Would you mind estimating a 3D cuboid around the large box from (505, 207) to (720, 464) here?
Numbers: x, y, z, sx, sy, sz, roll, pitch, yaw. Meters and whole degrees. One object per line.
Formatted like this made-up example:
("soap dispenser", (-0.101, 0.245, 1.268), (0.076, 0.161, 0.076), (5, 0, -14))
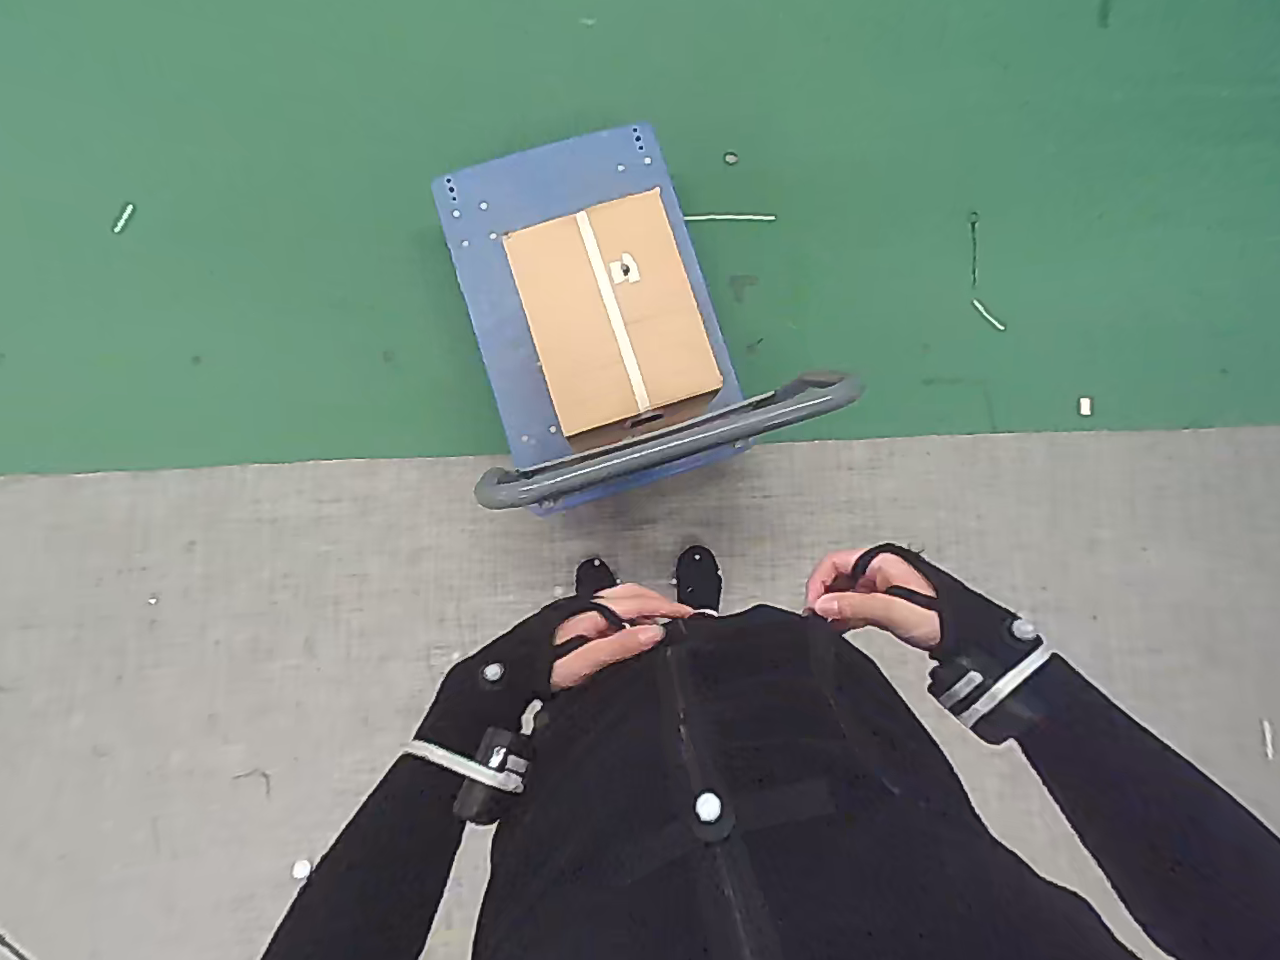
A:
("large box", (-0.055, -0.284, 1.174), (0.320, 0.320, 0.408), (-18, 85, -3))
